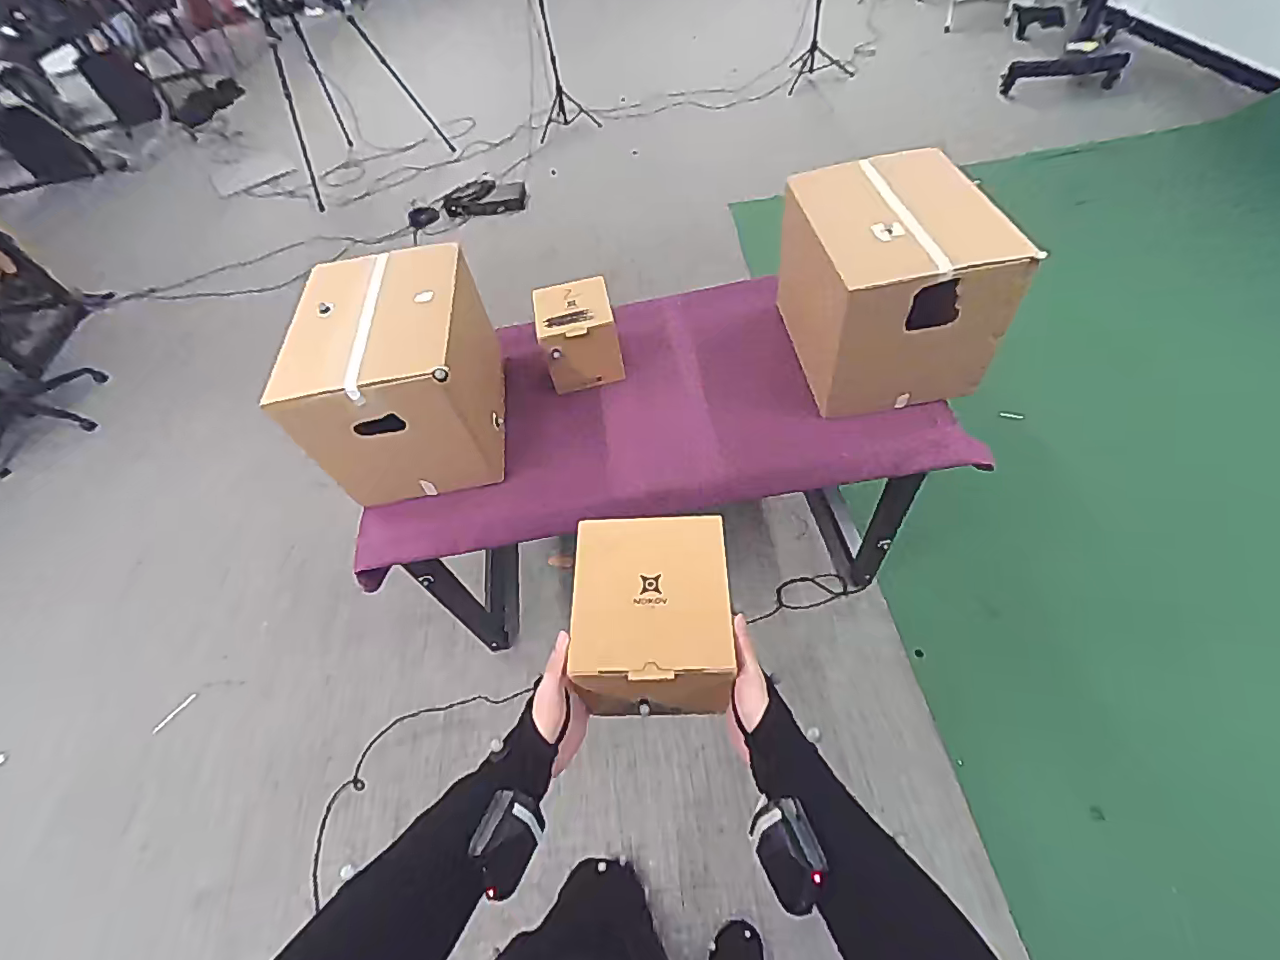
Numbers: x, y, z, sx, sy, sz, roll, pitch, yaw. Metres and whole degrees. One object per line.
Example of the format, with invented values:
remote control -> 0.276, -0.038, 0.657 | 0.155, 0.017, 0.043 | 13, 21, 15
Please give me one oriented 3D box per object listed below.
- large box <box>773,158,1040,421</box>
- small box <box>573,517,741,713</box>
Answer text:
large box -> 0.483, -0.385, 1.103 | 0.320, 0.320, 0.408 | -10, 54, 3
small box -> 0.019, 0.160, 0.630 | 0.168, 0.176, 0.179 | -2, 55, 2
